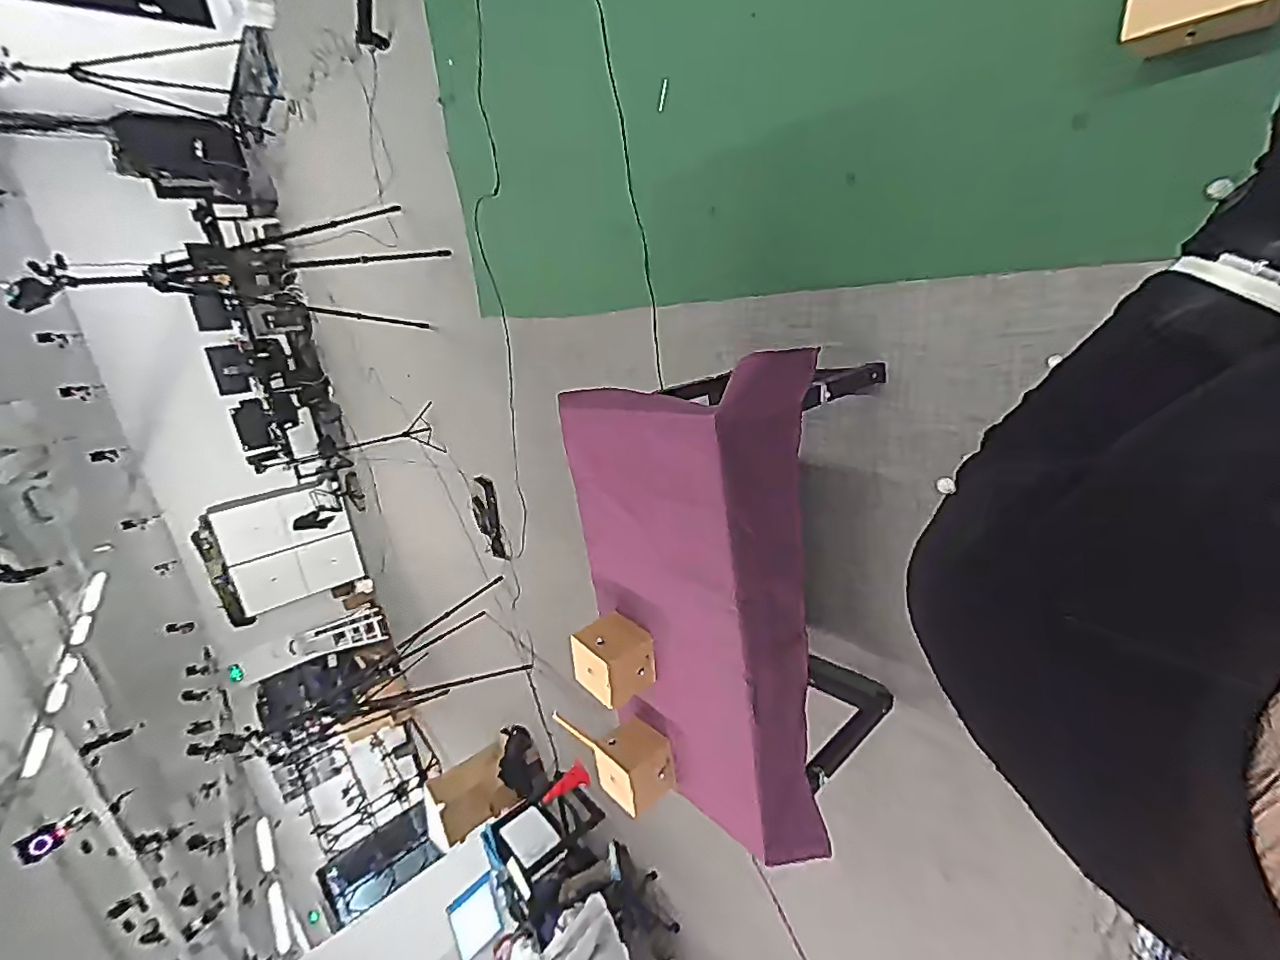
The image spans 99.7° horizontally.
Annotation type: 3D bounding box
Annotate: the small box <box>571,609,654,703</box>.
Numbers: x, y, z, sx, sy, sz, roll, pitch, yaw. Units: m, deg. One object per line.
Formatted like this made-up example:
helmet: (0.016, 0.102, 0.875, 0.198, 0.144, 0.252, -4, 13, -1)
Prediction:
small box: (-0.078, 0.500, 1.574, 0.179, 0.176, 0.168, 20, 122, 45)

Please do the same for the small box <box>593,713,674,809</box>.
small box: (-0.019, 0.852, 1.663, 0.179, 0.176, 0.168, 12, 116, 49)

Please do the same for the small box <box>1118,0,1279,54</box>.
small box: (0.920, -0.822, 0.869, 0.179, 0.176, 0.168, 20, 122, 48)
